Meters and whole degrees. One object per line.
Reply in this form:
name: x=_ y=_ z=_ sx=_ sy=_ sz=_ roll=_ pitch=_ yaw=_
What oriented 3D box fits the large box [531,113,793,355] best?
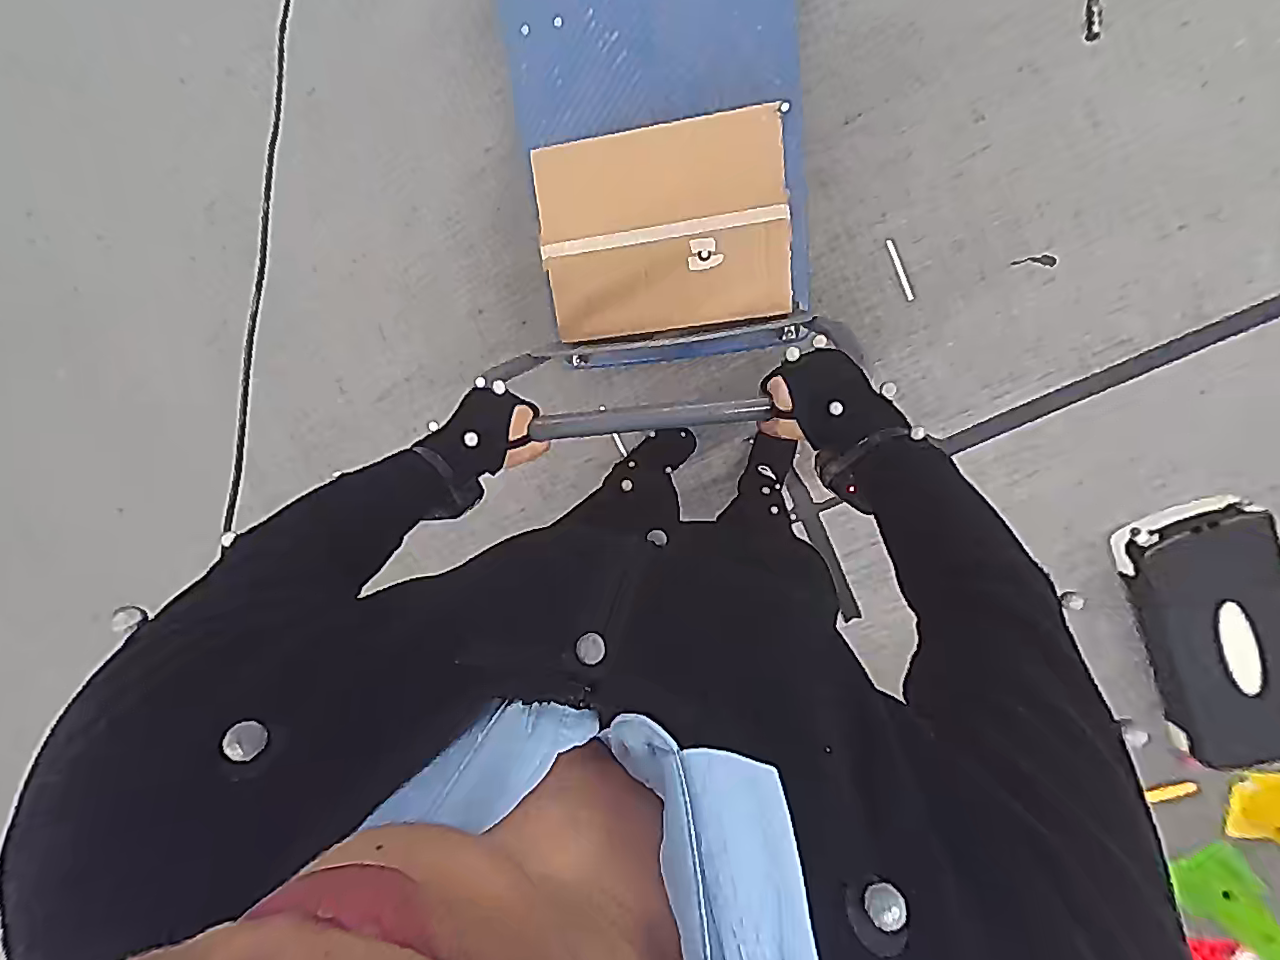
large box: x=0.054 y=-0.425 z=1.027 sx=0.408 sy=0.320 sz=0.320 roll=-6 pitch=105 yaw=9
